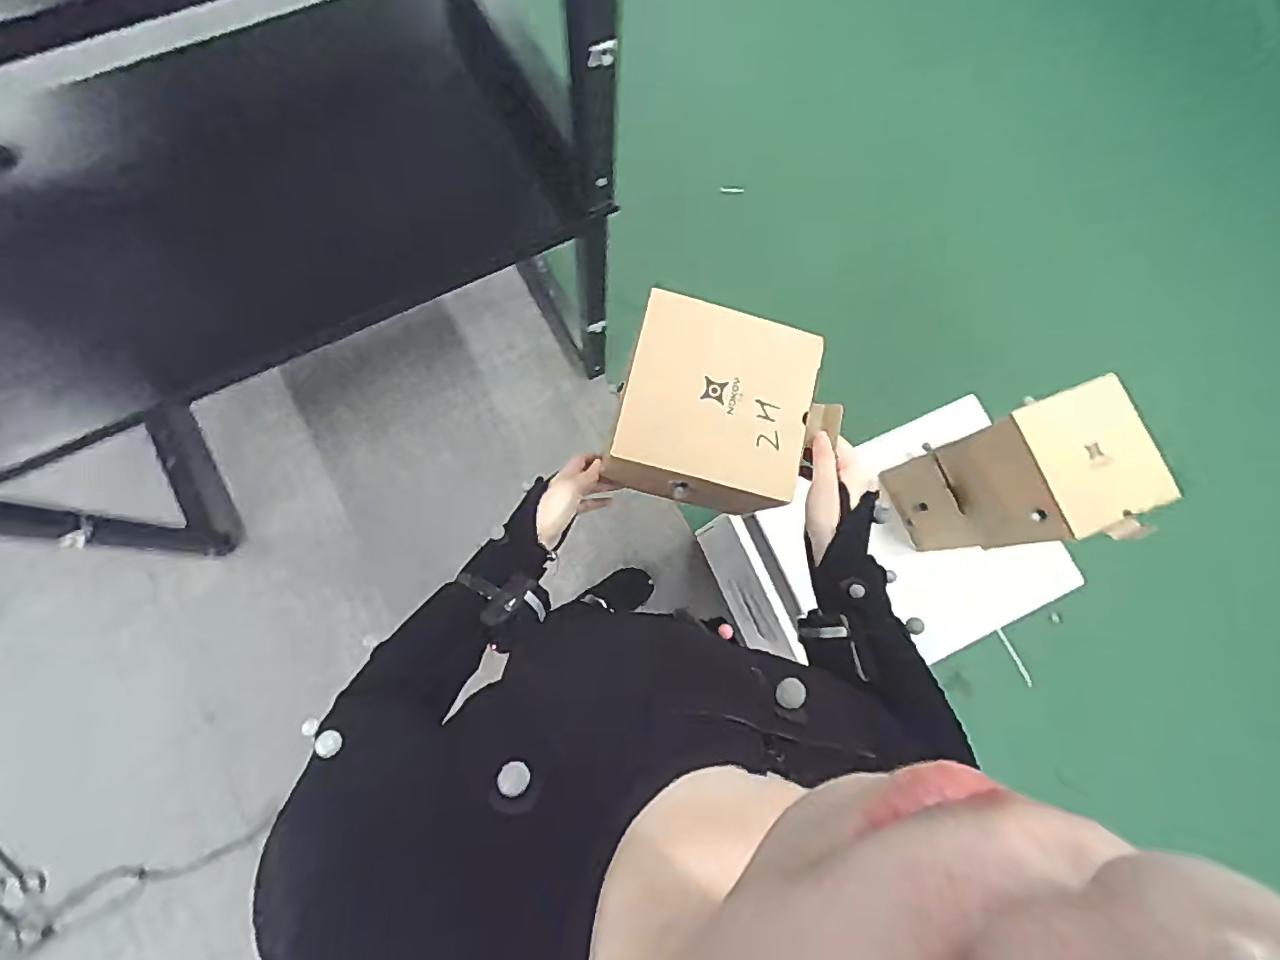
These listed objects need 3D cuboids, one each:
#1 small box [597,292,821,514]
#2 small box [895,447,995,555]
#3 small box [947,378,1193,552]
[{"bbox_3d":[0.058,-0.063,0.560,0.179,0.176,0.168,13,81,-7],"label":"small box"},{"bbox_3d":[0.561,0.018,0.905,0.179,0.176,0.168,-22,81,-8],"label":"small box"},{"bbox_3d":[0.570,-0.011,0.745,0.168,0.176,0.179,-20,81,-8],"label":"small box"}]
